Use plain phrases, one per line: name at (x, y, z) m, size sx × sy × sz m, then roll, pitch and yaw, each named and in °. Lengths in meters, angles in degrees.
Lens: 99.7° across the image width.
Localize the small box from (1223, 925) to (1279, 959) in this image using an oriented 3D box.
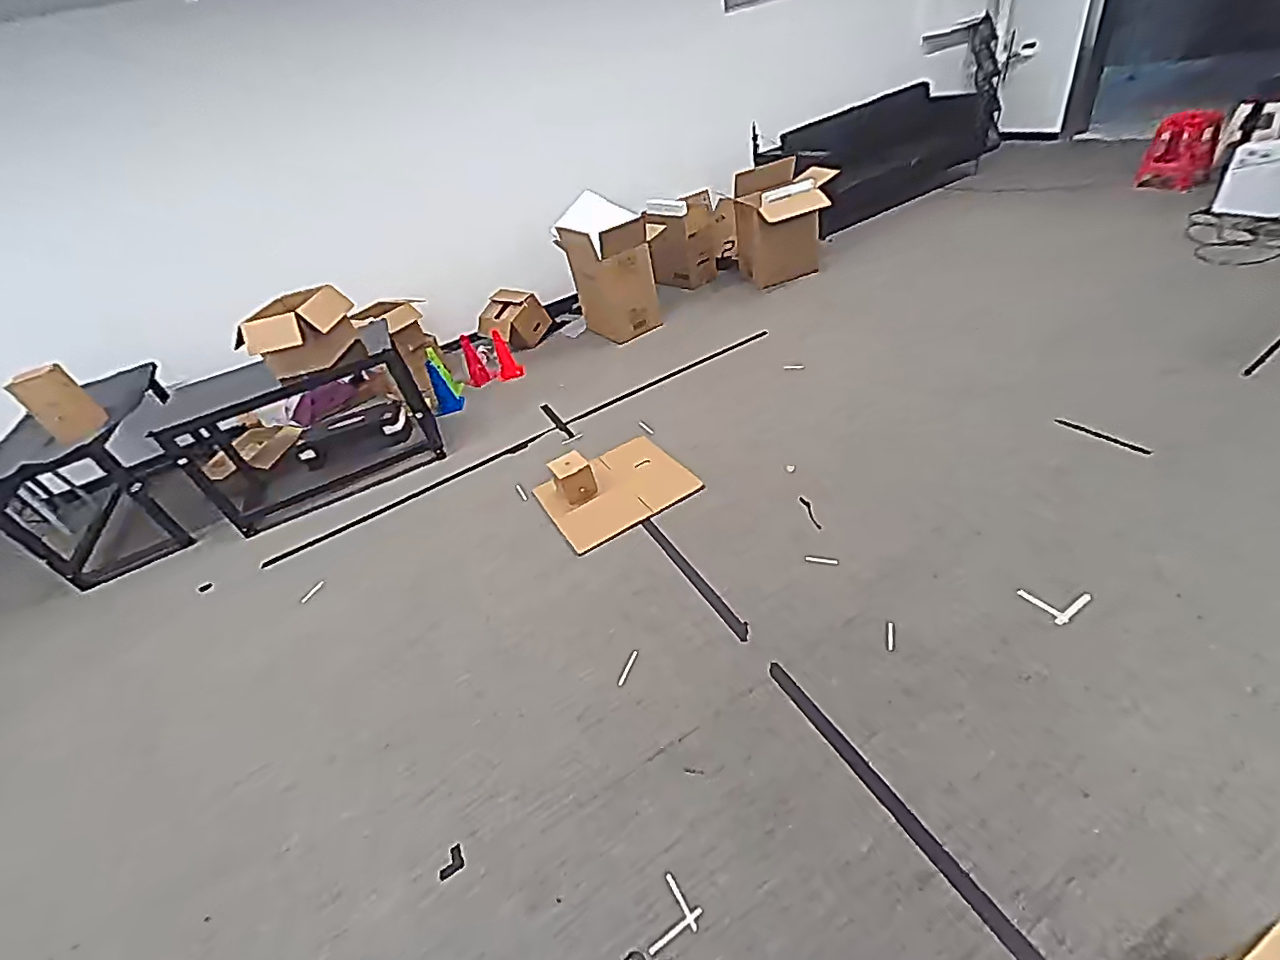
small box at (1.071, 0.889, 0.880) m, size 0.168 × 0.176 × 0.179 m, roll -25°, pitch 38°, yaw -15°

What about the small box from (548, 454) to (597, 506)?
small box at (-0.340, 0.001, 2.722) m, size 0.168 × 0.176 × 0.179 m, roll -29°, pitch 40°, yaw -16°
